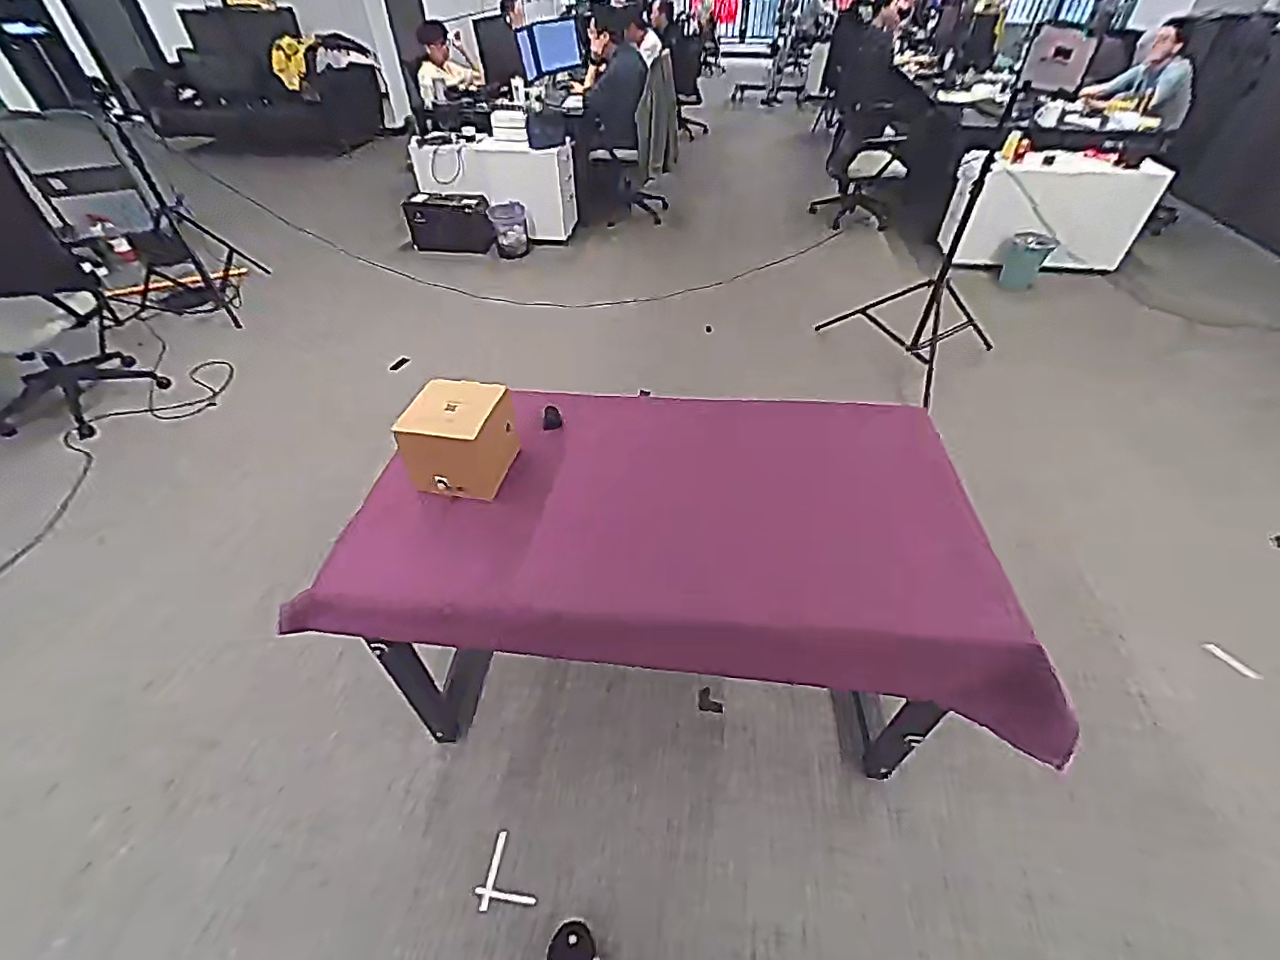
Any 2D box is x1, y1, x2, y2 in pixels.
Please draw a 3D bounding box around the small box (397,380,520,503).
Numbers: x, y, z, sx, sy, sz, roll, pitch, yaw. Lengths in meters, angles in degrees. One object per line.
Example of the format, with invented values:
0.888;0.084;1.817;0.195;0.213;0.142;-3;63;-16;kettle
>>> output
-0.355;-0.079;1.098;0.168;0.176;0.179;6;45;8;small box
